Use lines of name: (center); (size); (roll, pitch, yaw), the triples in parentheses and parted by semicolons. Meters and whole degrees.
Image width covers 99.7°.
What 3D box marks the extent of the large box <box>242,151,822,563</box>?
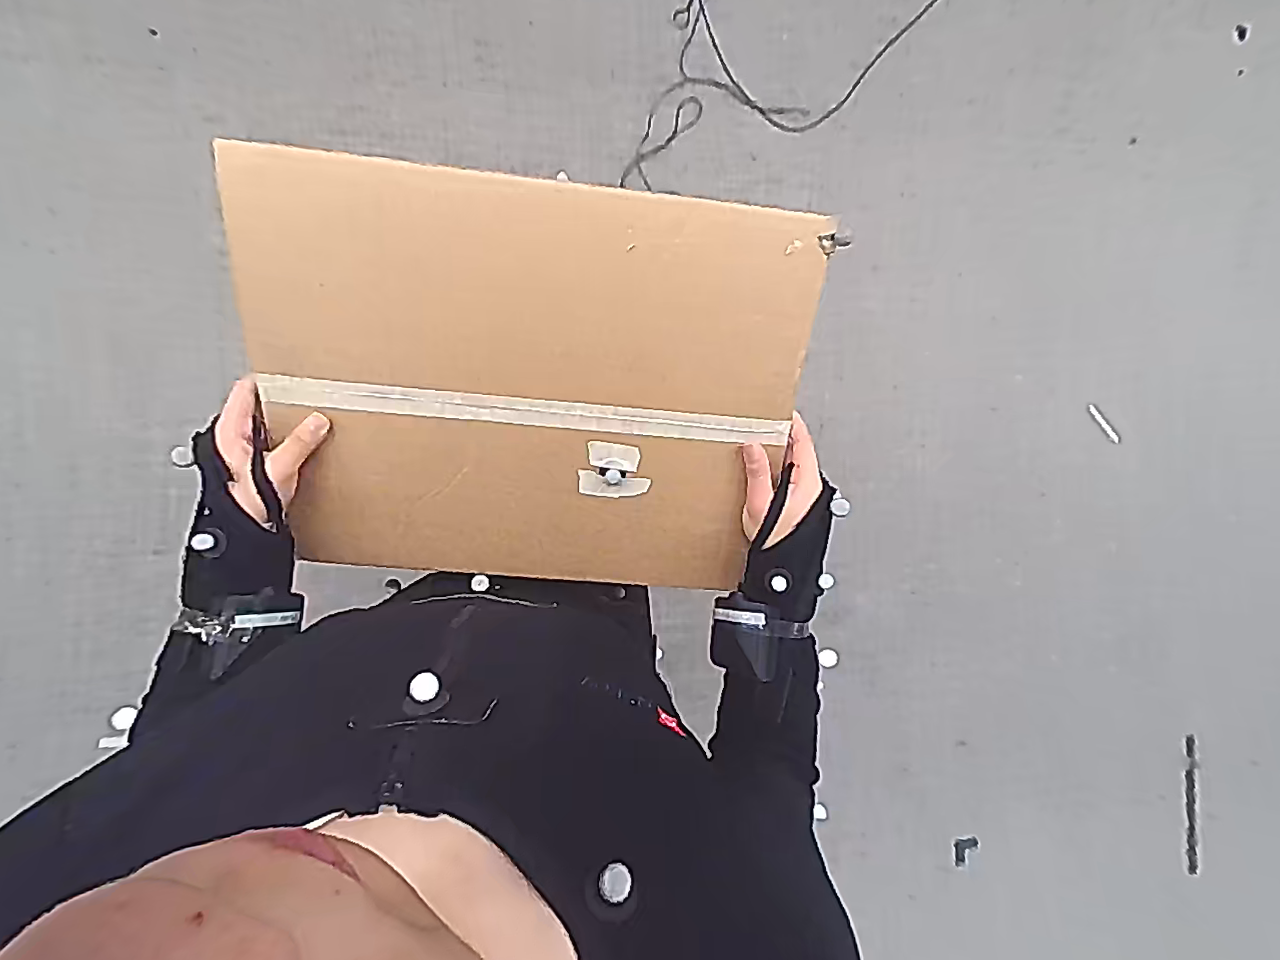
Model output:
large box: (-0.088, -0.130, 0.566); (0.408, 0.320, 0.320); (3, 116, -5)
